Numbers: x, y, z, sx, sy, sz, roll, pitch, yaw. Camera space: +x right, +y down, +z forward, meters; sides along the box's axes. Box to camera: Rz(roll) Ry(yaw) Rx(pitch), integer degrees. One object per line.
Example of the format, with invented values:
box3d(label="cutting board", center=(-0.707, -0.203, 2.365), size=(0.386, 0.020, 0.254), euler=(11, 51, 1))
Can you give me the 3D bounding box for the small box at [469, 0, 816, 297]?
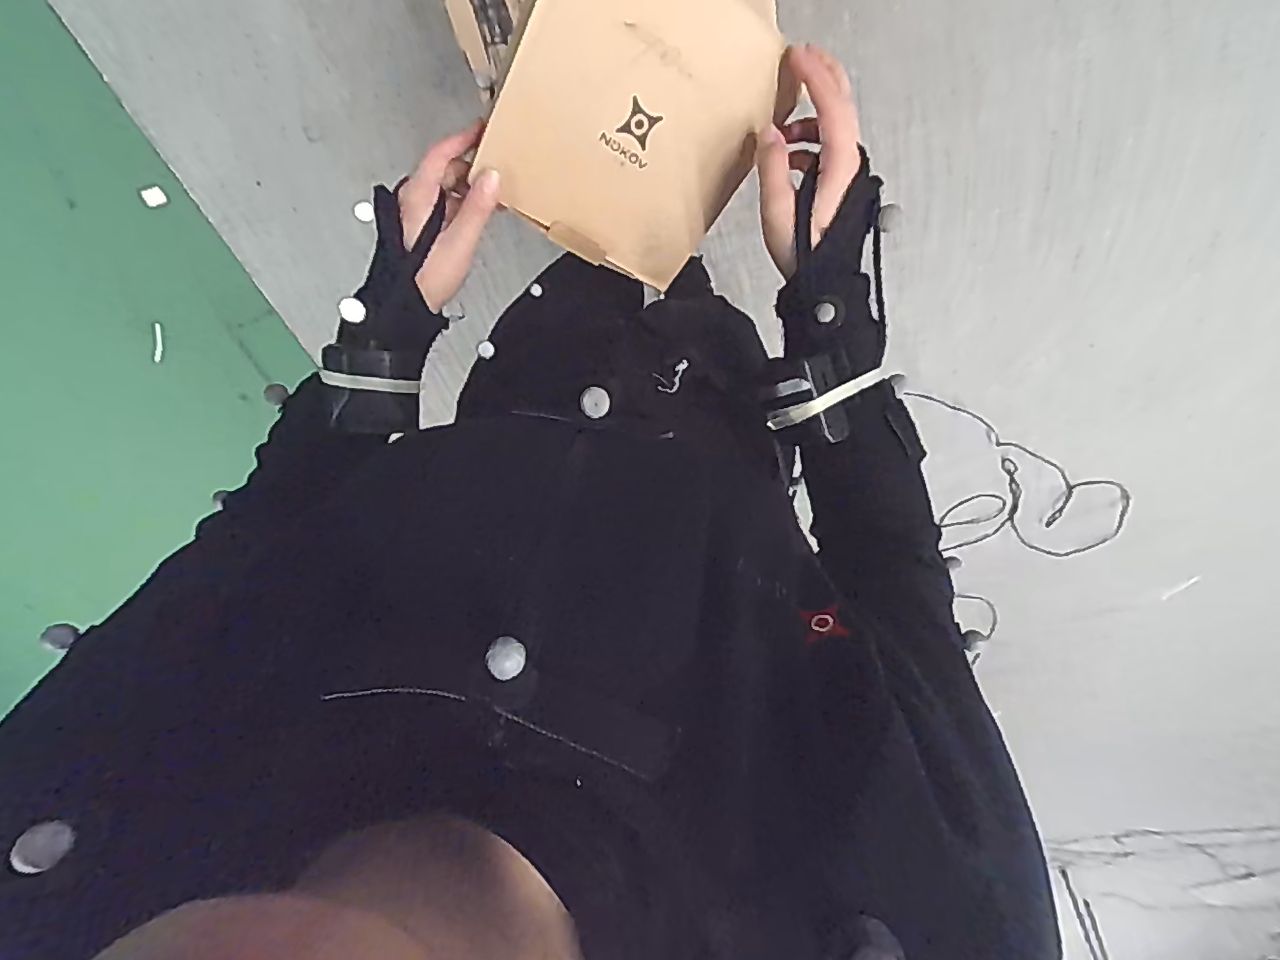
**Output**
box3d(label="small box", center=(-0.010, -0.280, 0.401), size=(0.168, 0.176, 0.179), euler=(19, 131, -30))
